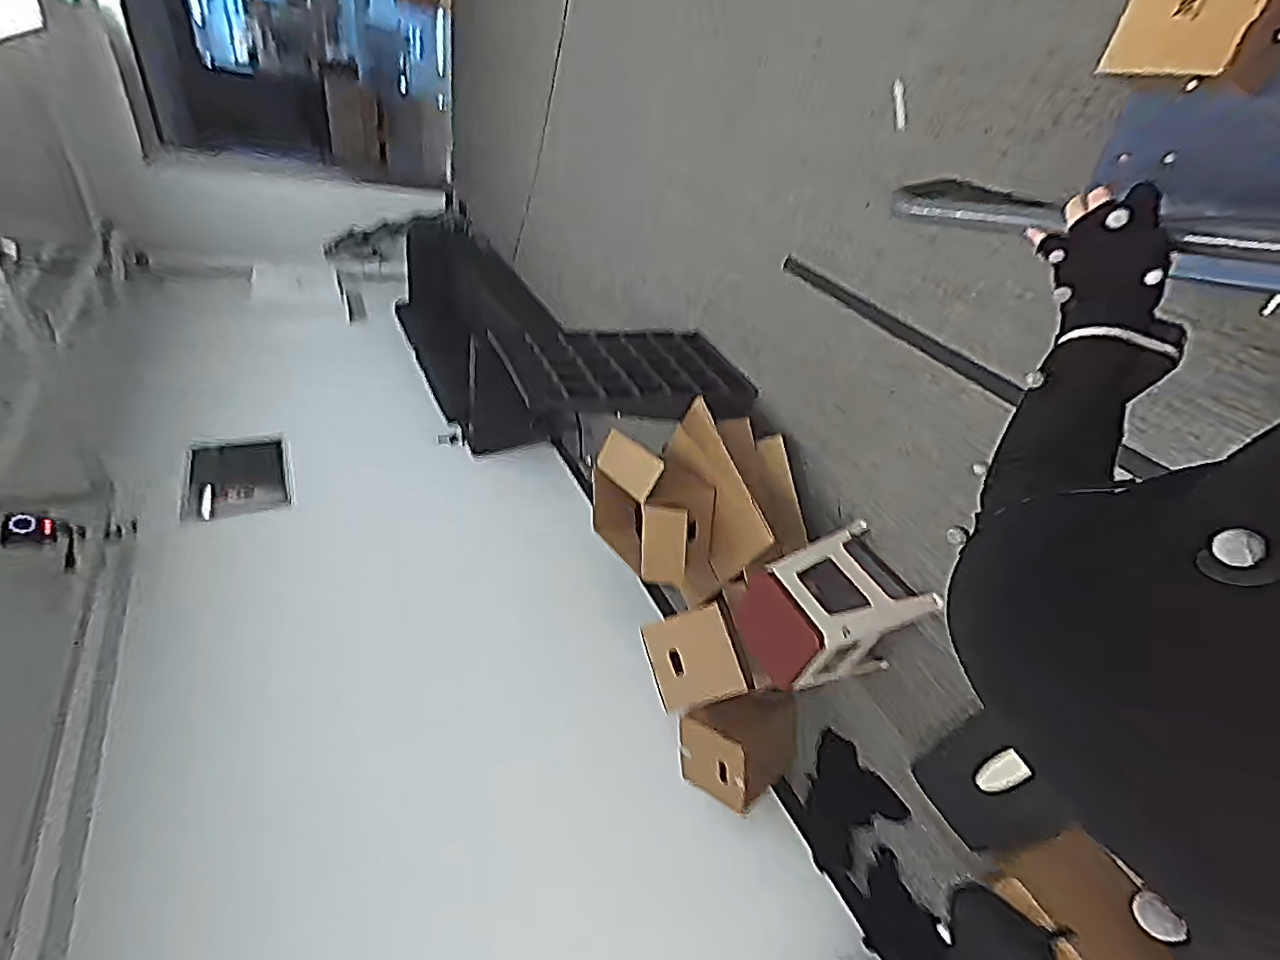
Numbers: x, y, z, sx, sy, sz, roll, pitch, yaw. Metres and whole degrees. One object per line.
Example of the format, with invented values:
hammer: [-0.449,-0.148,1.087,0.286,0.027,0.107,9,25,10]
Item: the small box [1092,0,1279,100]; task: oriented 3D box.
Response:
small box: [0.885,-0.716,0.851,0.179,0.176,0.168,46,136,43]
